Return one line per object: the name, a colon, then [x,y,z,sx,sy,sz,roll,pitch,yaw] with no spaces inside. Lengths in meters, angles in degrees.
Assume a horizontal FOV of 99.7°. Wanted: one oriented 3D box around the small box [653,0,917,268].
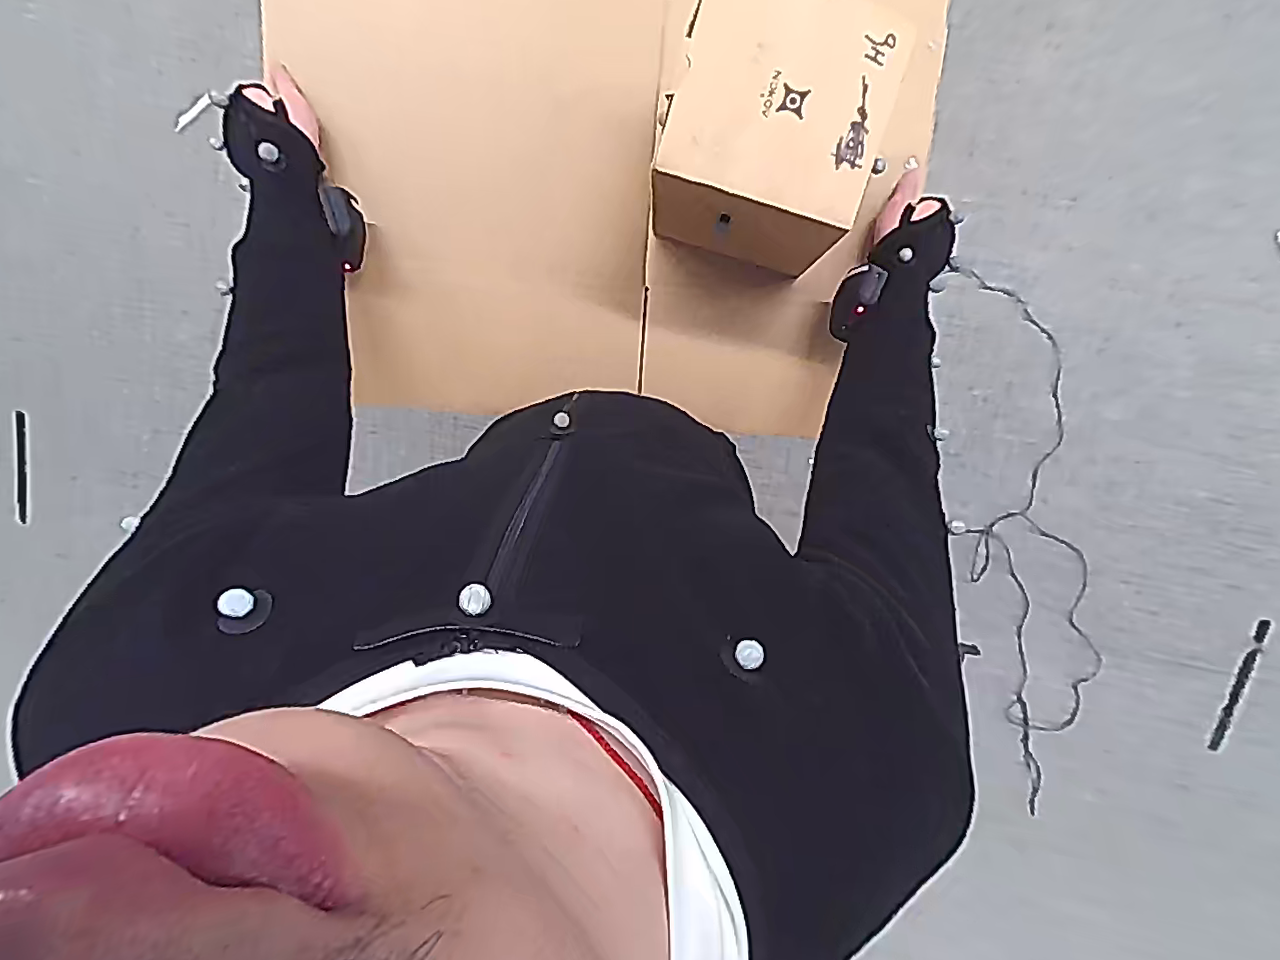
small box: [0.120,-0.324,0.522,0.179,0.176,0.168,17,98,0]
